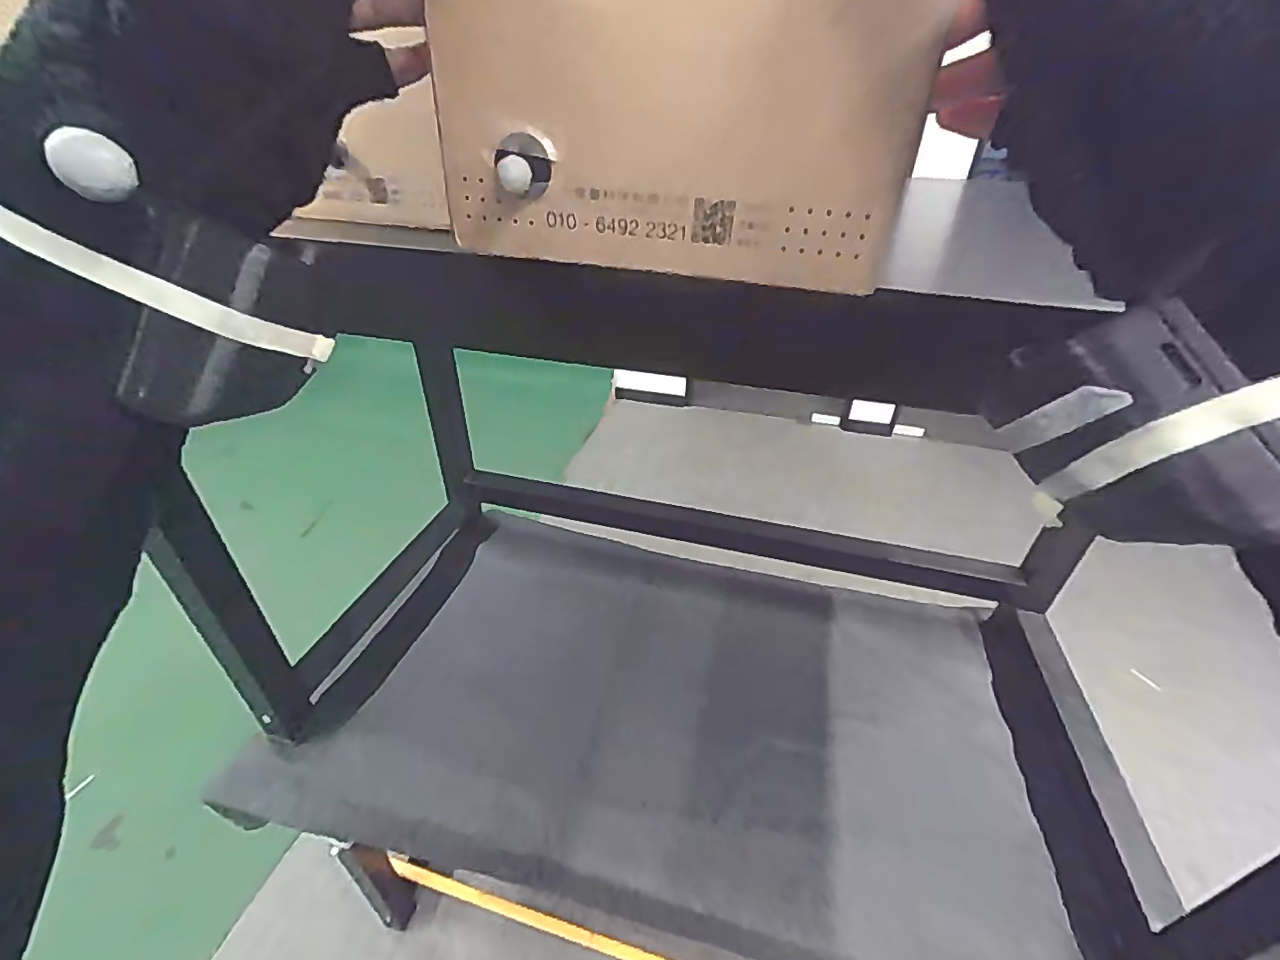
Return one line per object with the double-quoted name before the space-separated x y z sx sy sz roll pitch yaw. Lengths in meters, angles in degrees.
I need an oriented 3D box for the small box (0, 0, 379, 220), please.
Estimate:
"small box" -0.345 -0.316 0.439 0.168 0.176 0.179 11 34 12
